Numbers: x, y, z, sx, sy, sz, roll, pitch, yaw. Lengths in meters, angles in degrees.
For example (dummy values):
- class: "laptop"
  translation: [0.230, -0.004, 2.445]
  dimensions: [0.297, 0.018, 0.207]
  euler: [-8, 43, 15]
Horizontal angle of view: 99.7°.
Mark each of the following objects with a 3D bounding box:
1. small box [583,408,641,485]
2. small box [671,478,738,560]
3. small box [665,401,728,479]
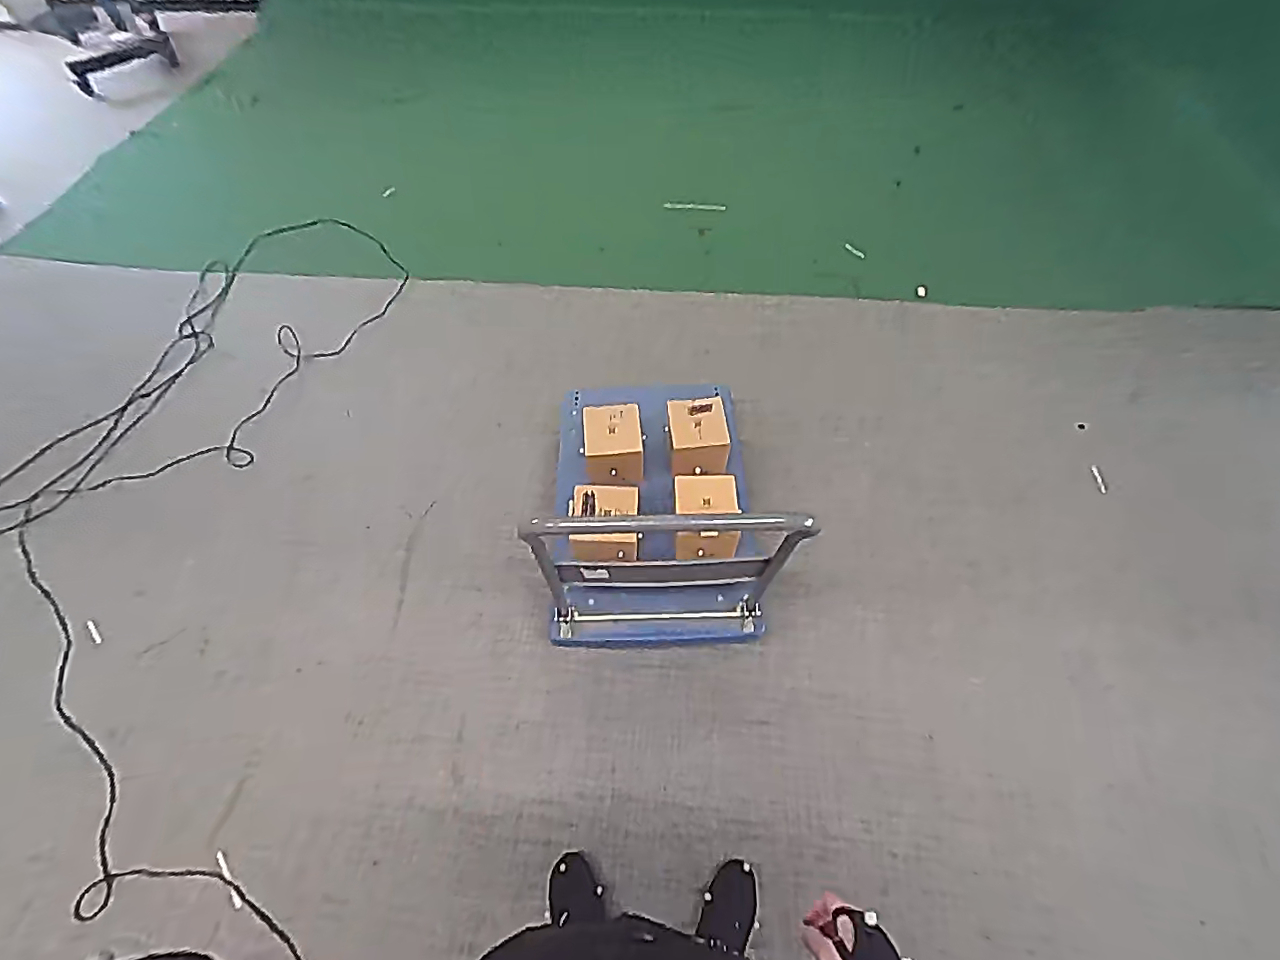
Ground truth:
- class: "small box"
  translation: [-0.083, -0.096, 1.654]
  dimensions: [0.168, 0.176, 0.179]
  euler: [-4, 58, -3]
- class: "small box"
  translation: [0.175, 0.112, 1.522]
  dimensions: [0.168, 0.176, 0.179]
  euler: [-1, 58, 0]
- class: "small box"
  translation: [0.167, -0.119, 1.664]
  dimensions: [0.168, 0.176, 0.179]
  euler: [-5, 59, -1]
